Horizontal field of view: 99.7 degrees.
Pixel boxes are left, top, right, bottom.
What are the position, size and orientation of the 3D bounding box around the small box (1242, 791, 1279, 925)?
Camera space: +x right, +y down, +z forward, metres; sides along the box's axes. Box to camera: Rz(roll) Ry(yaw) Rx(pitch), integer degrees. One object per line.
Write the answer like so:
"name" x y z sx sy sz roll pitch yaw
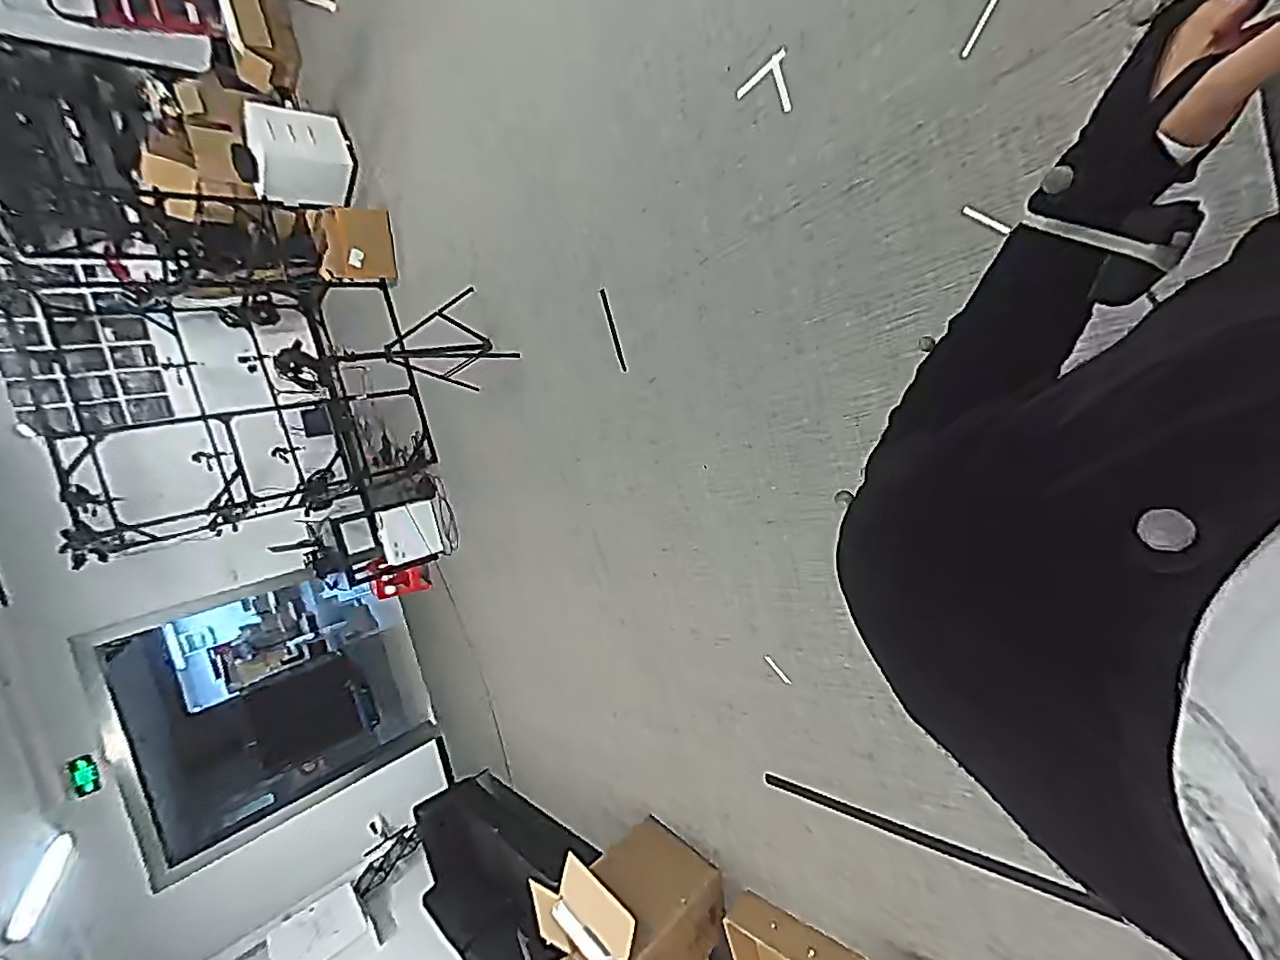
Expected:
"small box" 1.296 0.744 1.040 0.168 0.176 0.179 -11 94 52
